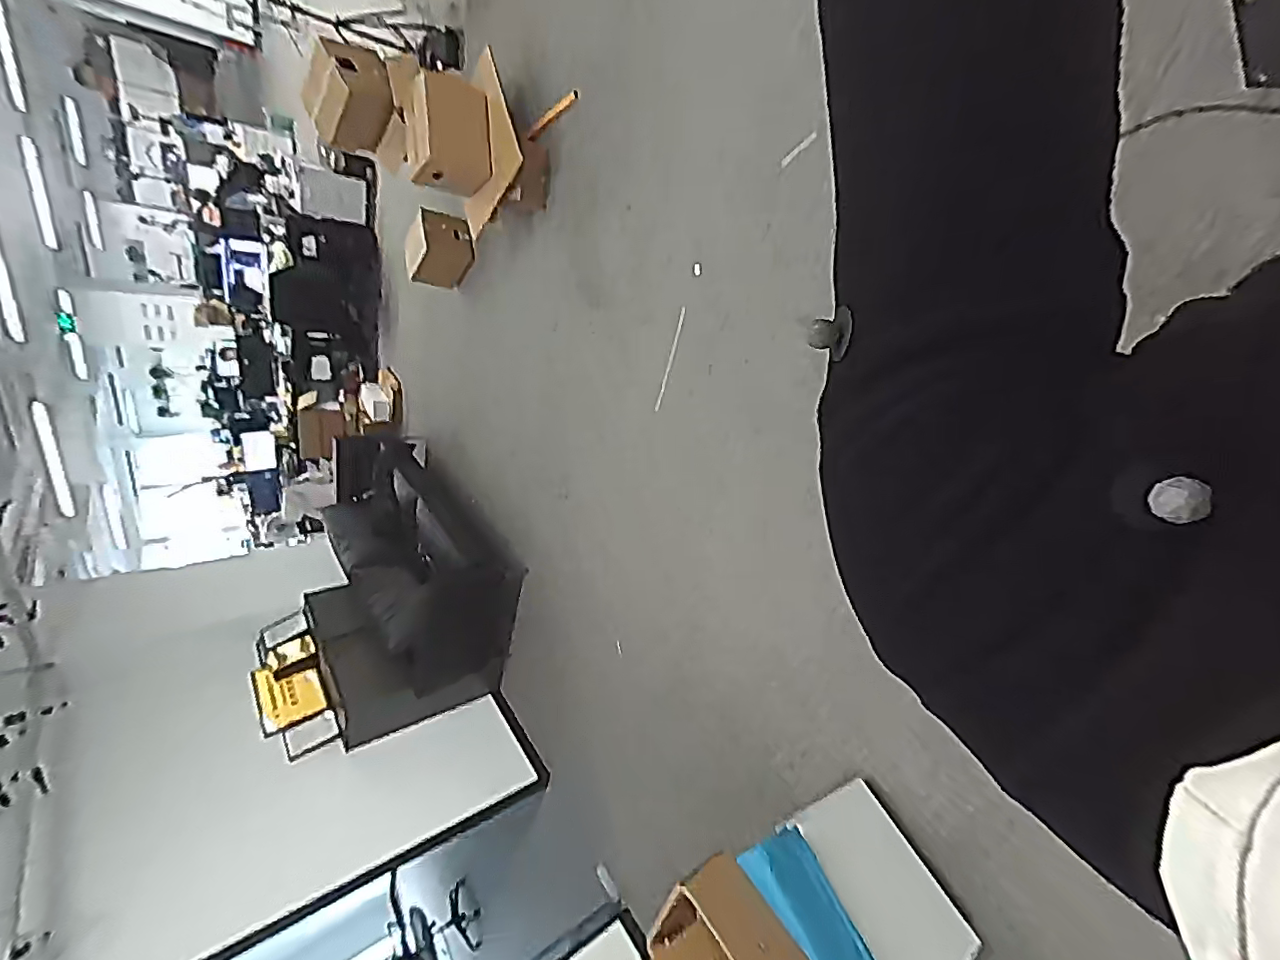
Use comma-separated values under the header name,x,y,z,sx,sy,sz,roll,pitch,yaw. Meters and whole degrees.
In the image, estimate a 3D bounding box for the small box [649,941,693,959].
name,x,y,z,sx,sy,sz,roll,pitch,yaw
small box,0.070,1.328,1.373,0.179,0.176,0.168,40,128,37
